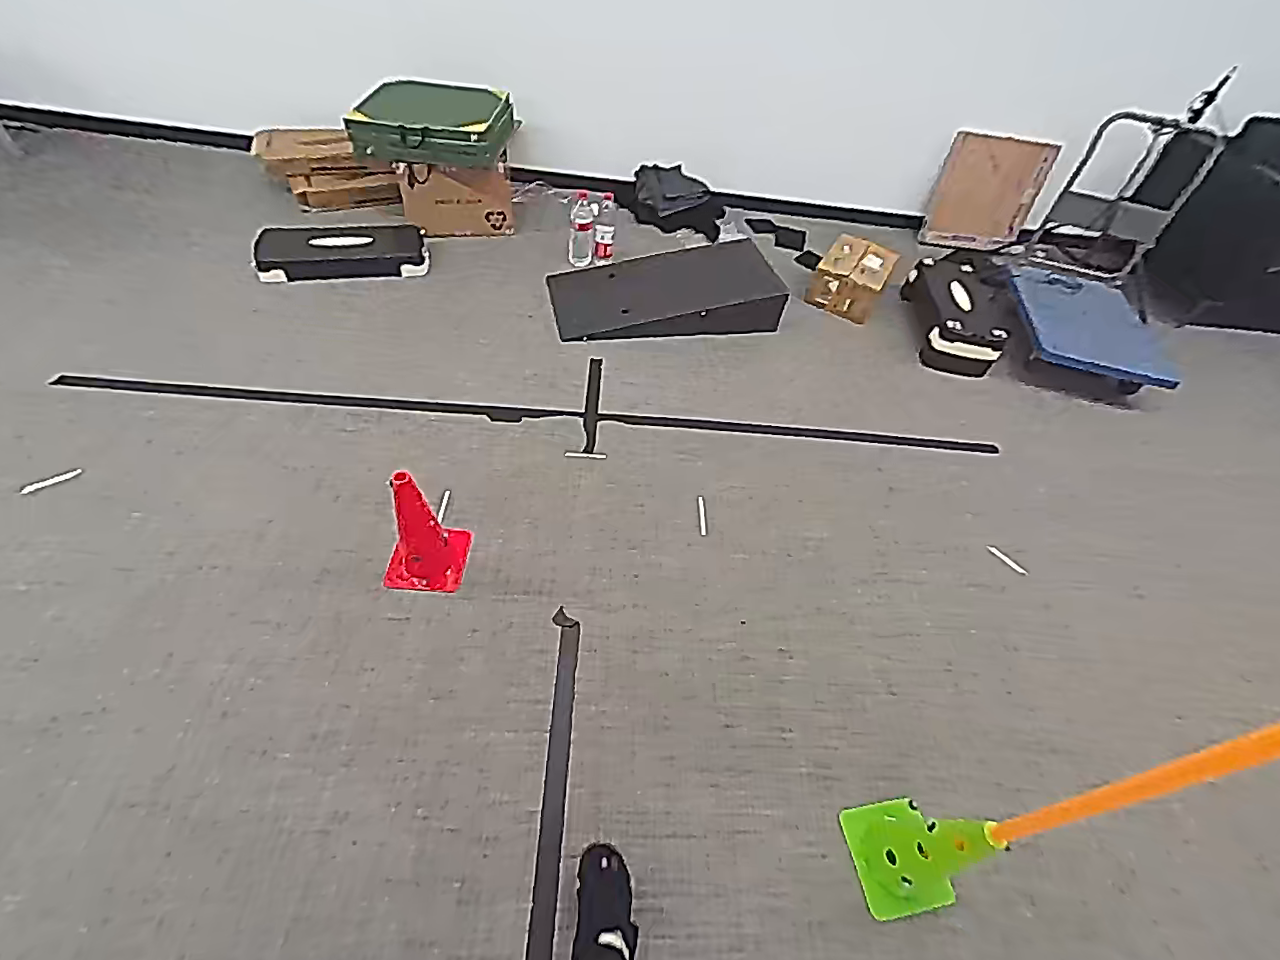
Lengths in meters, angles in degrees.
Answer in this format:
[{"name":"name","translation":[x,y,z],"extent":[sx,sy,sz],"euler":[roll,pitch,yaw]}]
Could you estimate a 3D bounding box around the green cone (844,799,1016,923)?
[{"name":"green cone","translation":[0.582,0.713,1.041],"extent":[0.200,0.368,0.202],"euler":[-4,53,-12]}]
